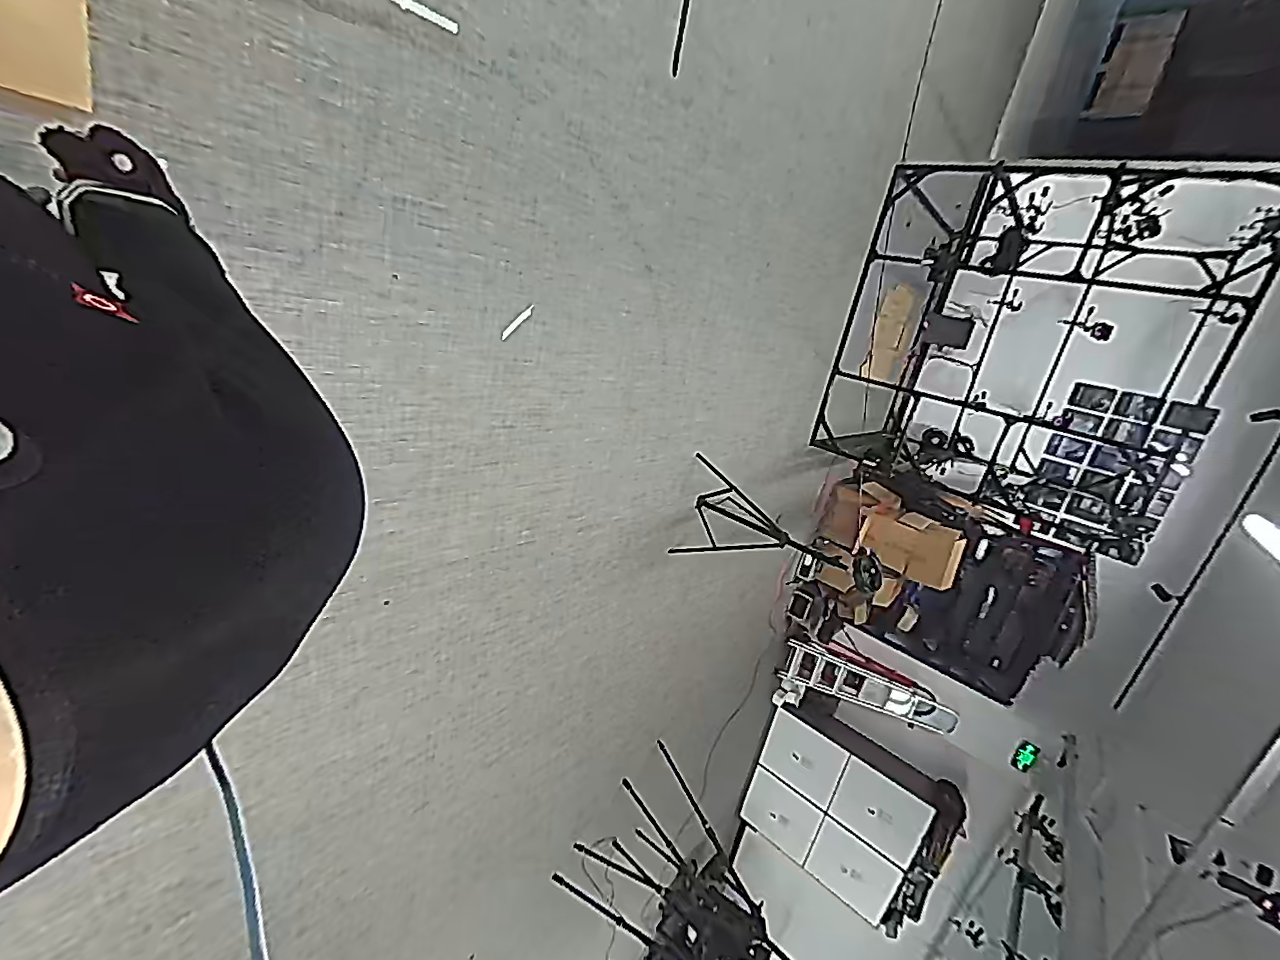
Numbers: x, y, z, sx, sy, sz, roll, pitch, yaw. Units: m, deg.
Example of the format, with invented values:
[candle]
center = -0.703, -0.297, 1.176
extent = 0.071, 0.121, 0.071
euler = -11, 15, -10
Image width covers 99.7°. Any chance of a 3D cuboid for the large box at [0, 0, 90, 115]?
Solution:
[large box]
center = -0.995, -0.698, 0.656
extent = 0.408, 0.320, 0.320
euler = -11, 118, -51
